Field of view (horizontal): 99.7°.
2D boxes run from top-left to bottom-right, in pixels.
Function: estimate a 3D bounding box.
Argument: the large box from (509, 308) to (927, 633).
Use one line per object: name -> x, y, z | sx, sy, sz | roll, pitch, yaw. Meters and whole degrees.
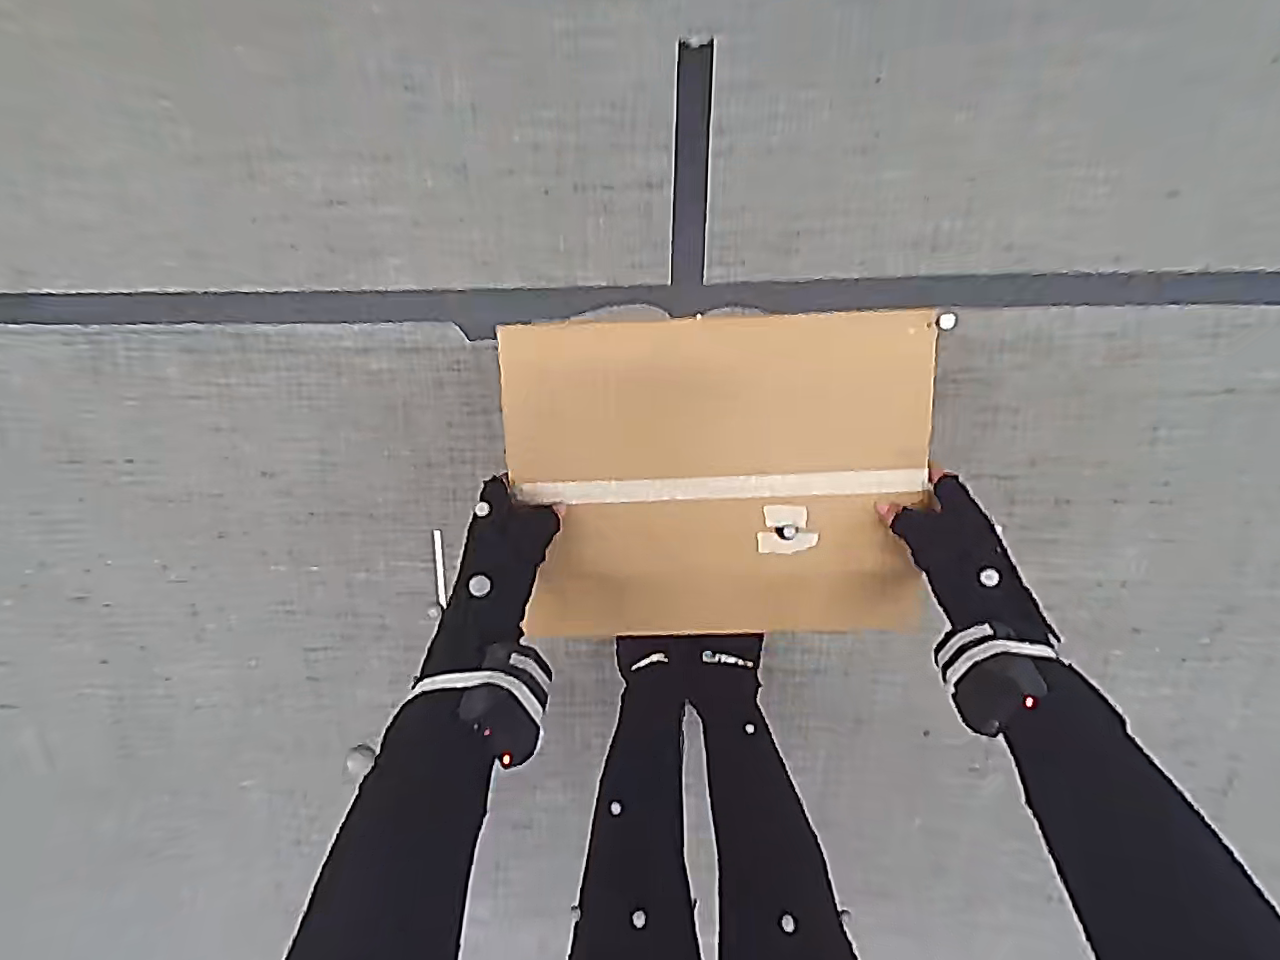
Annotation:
large box -> 0.081, -0.027, 0.683 | 0.408, 0.320, 0.320 | -3, 101, 1
